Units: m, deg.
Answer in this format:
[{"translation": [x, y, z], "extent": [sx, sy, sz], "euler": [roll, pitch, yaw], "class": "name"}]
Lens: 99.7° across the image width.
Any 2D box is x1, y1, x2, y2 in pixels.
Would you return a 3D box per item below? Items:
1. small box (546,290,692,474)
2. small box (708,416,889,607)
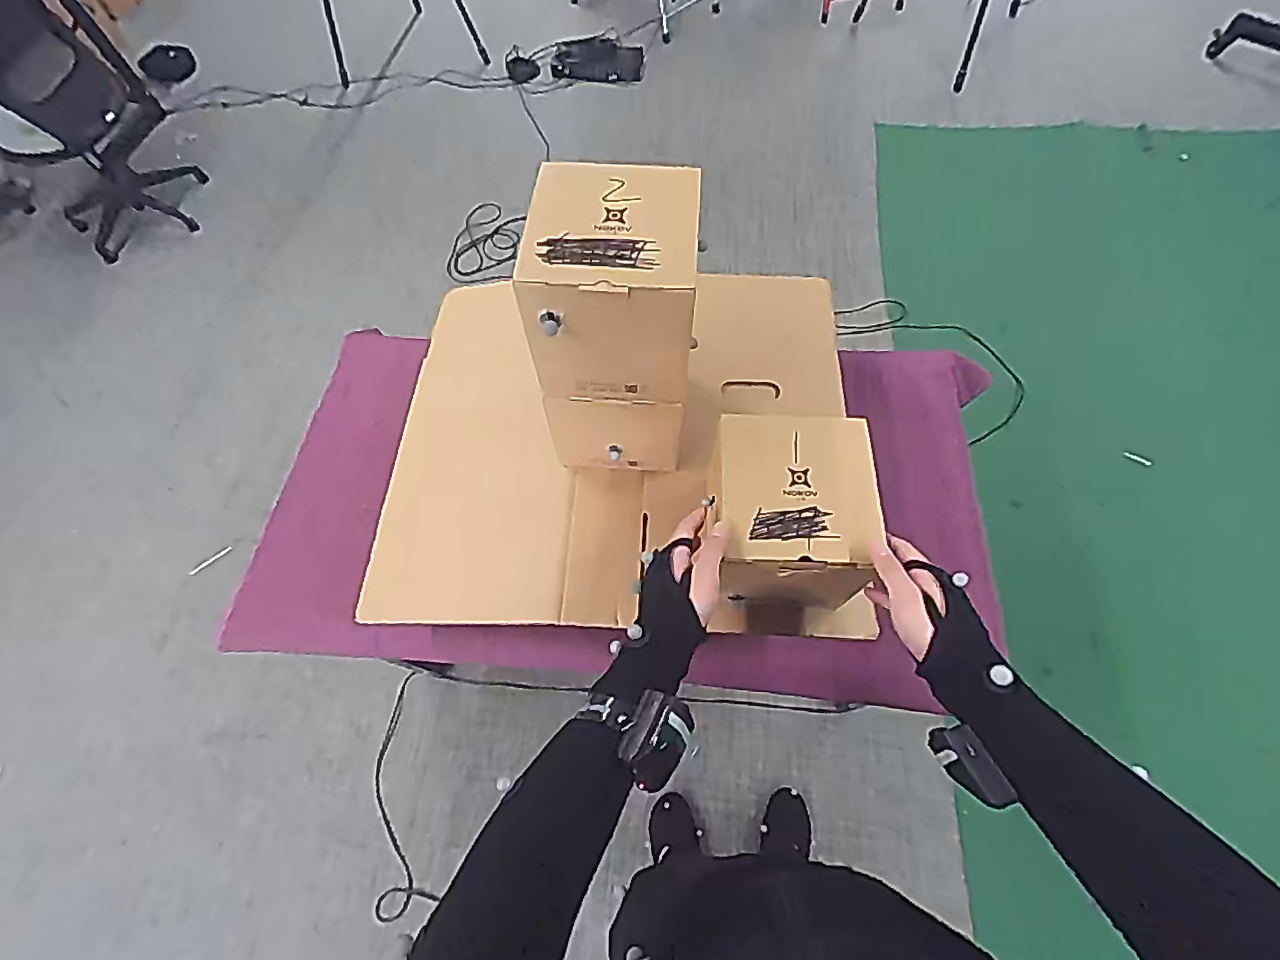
[{"translation": [-0.022, -0.127, 0.728], "extent": [0.168, 0.176, 0.179], "euler": [3, 64, 3], "class": "small box"}, {"translation": [0.171, 0.044, 0.638], "extent": [0.168, 0.176, 0.179], "euler": [2, 62, 3], "class": "small box"}]
